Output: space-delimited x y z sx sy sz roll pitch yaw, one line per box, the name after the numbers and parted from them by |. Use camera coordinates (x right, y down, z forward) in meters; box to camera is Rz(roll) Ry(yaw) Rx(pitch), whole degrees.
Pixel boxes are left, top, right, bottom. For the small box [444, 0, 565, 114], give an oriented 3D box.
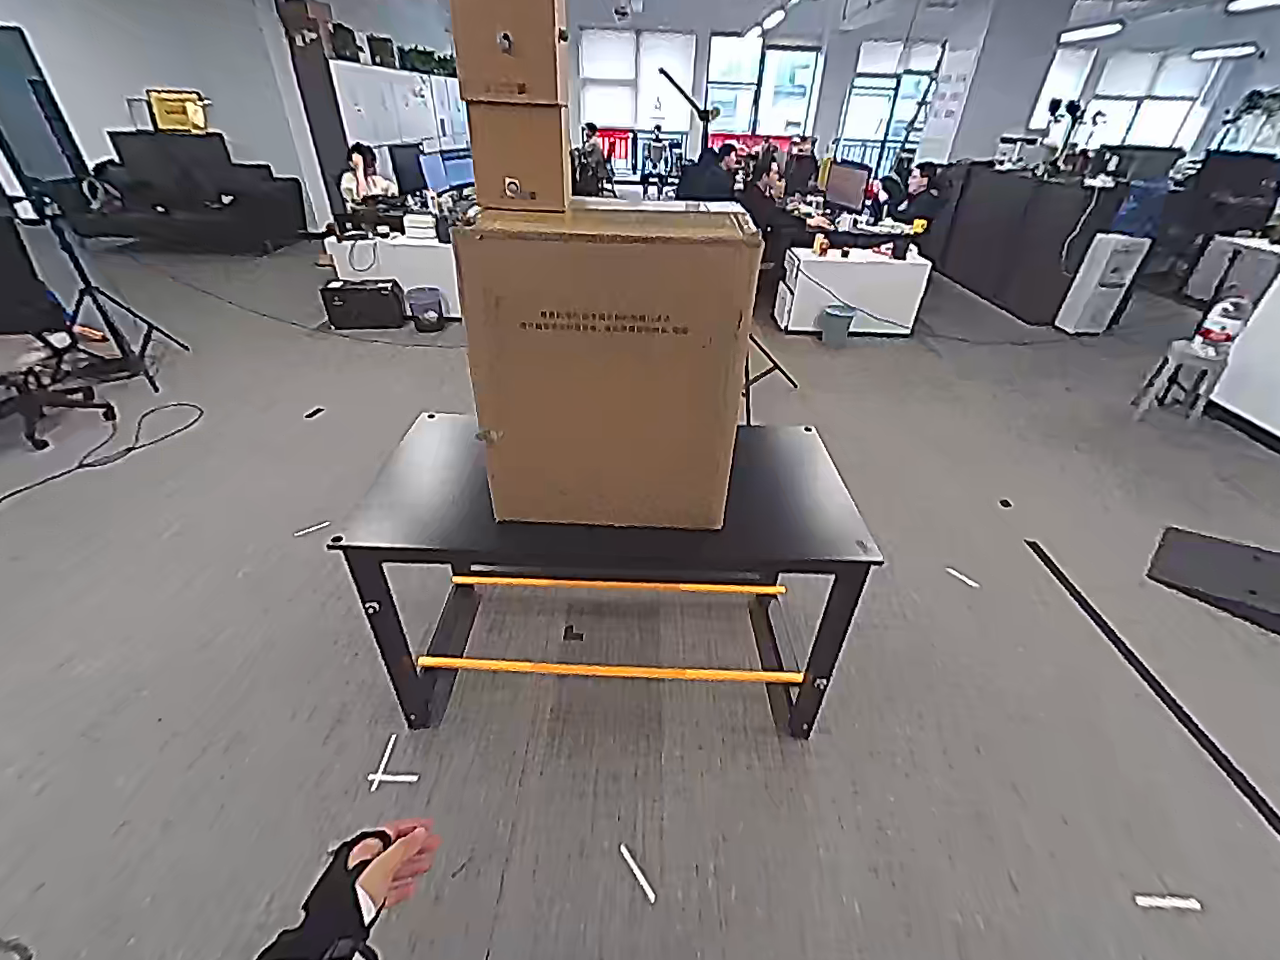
-0.221 -0.733 0.933 0.168 0.176 0.179 0 34 -2 | small box

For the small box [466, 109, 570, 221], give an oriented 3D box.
-0.223 -0.605 1.036 0.168 0.176 0.179 -1 34 -3 | small box
